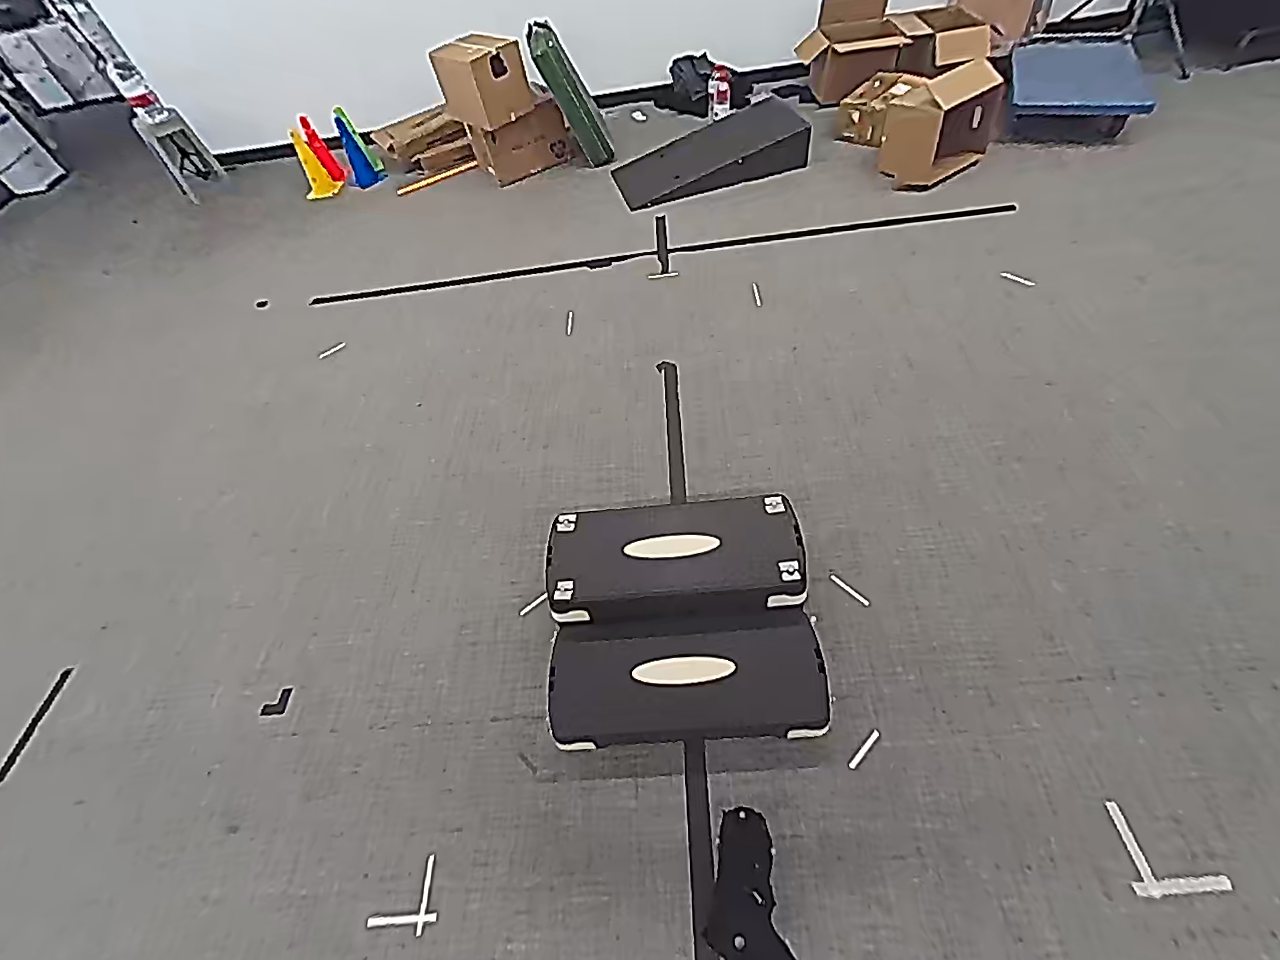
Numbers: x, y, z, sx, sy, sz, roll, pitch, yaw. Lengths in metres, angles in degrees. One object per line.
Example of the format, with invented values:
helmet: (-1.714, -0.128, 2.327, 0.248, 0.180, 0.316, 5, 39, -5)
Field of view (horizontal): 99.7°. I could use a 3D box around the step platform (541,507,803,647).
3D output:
step platform: (0.081, 0.257, 1.454, 0.684, 0.204, 0.286, -6, 53, 4)
